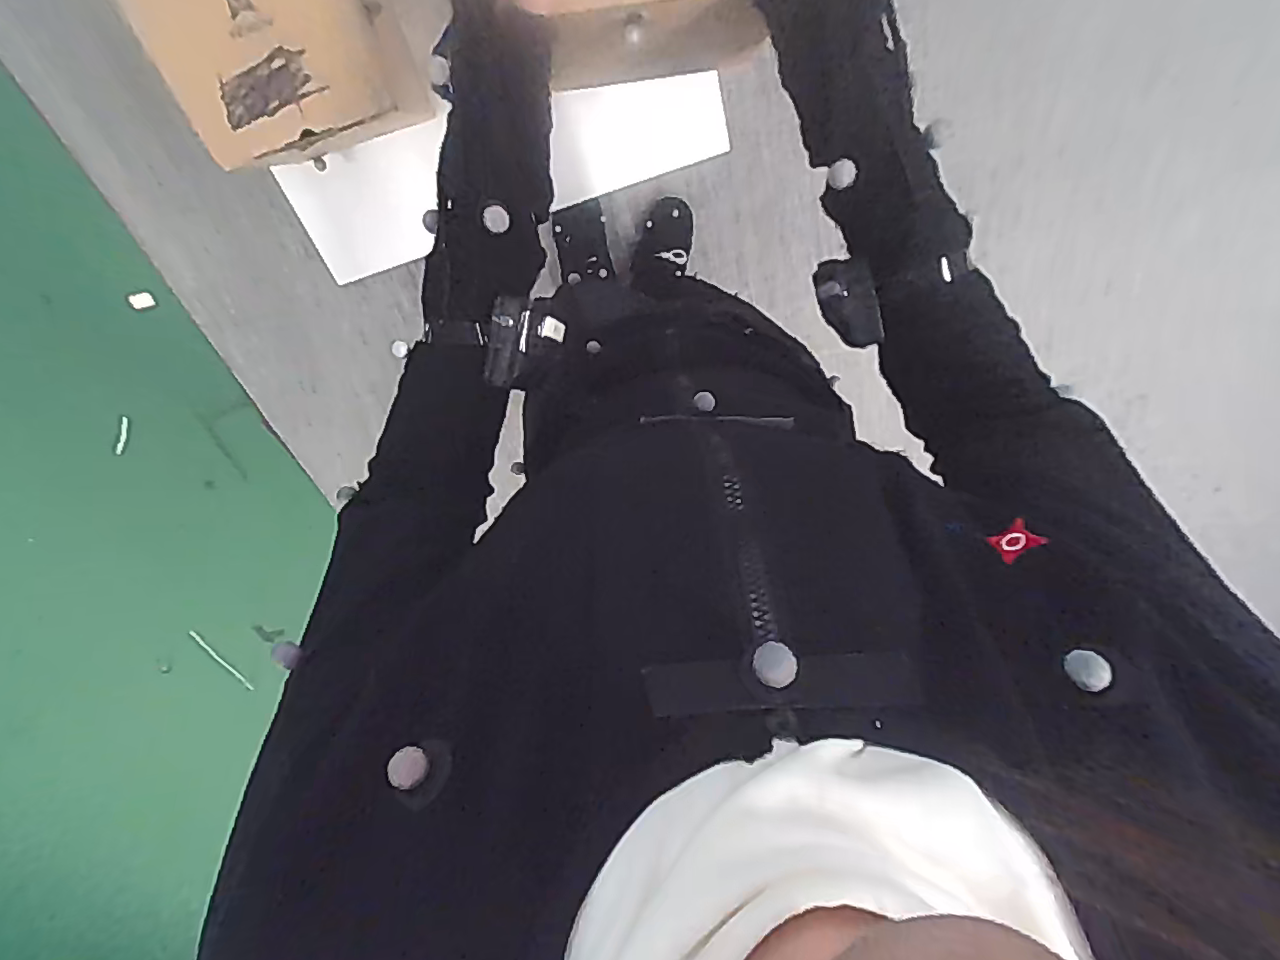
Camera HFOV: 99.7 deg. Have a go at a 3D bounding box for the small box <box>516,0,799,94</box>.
[{"bbox_3d":[0.002,-0.370,0.331,0.168,0.176,0.179,-6,113,1],"label":"small box"}]
